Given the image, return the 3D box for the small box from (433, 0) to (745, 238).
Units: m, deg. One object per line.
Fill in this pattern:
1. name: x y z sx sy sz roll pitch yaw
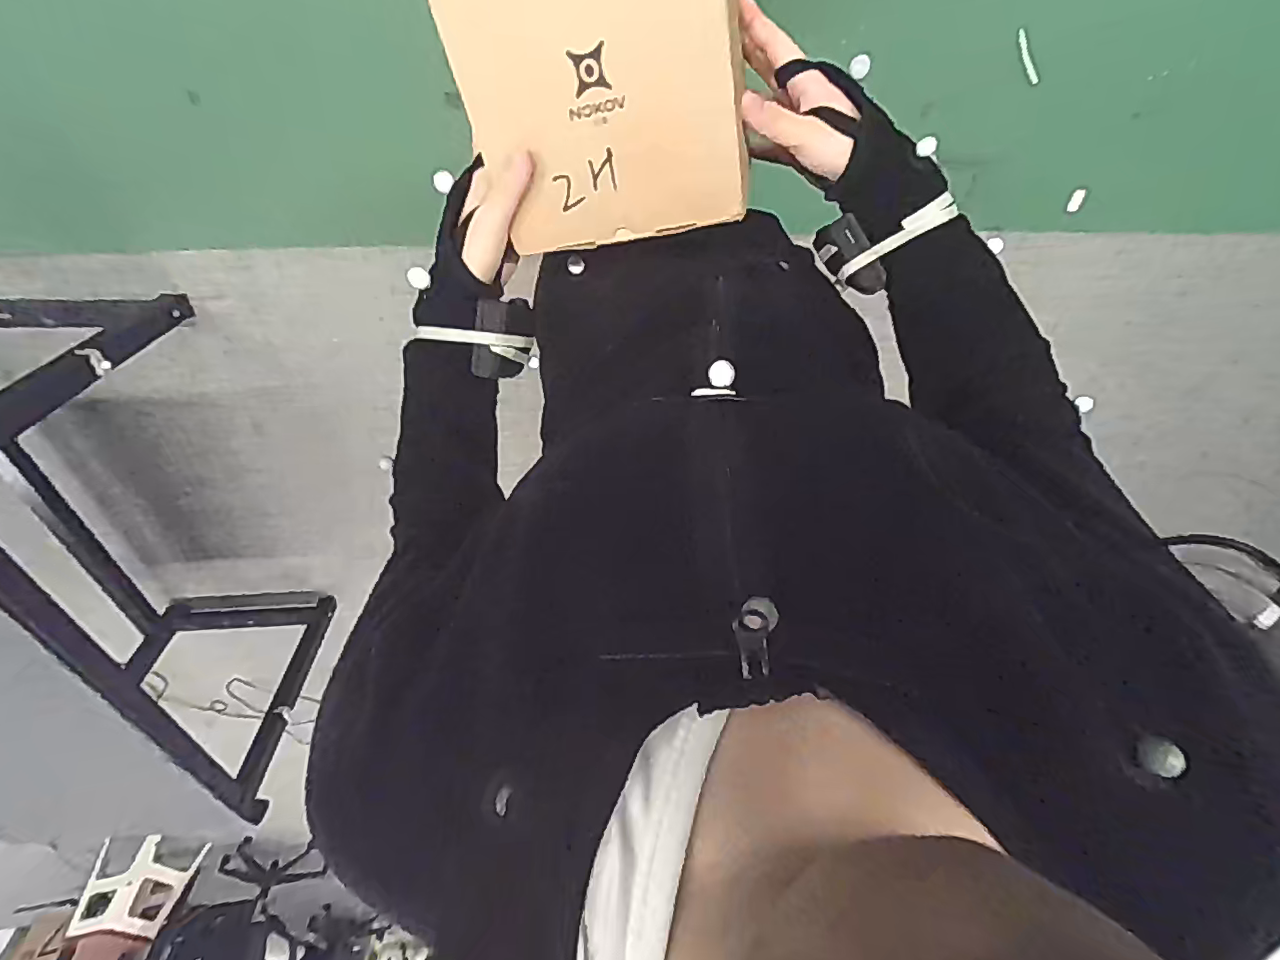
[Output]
1. small box: -0.016 -0.290 0.370 0.168 0.176 0.179 -2 130 15
